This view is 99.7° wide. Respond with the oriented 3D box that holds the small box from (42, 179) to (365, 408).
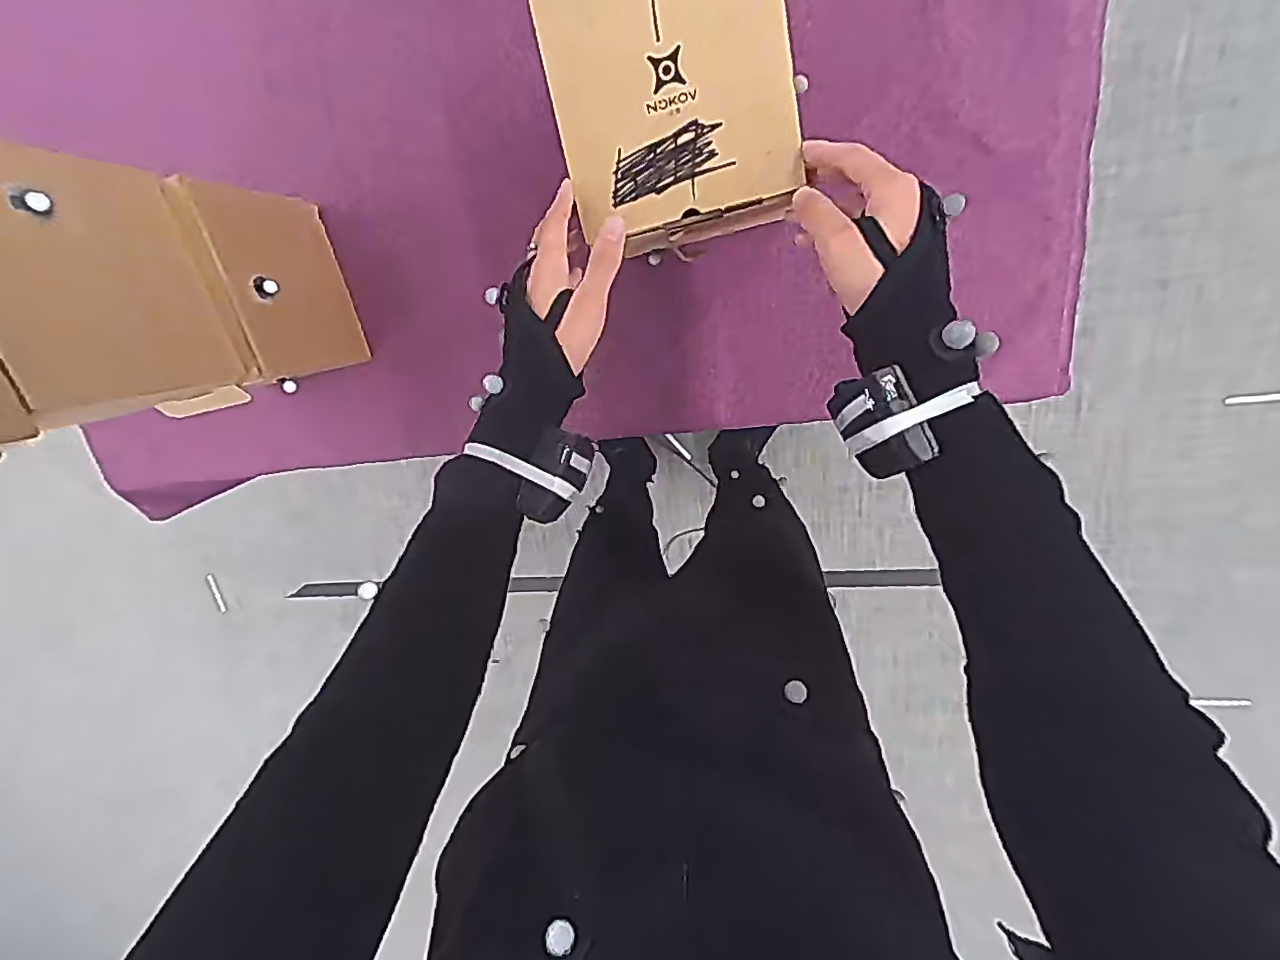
[{"bbox_3d":[-0.428,-0.189,0.566,0.168,0.176,0.179,-8,108,12],"label":"small box"}]
